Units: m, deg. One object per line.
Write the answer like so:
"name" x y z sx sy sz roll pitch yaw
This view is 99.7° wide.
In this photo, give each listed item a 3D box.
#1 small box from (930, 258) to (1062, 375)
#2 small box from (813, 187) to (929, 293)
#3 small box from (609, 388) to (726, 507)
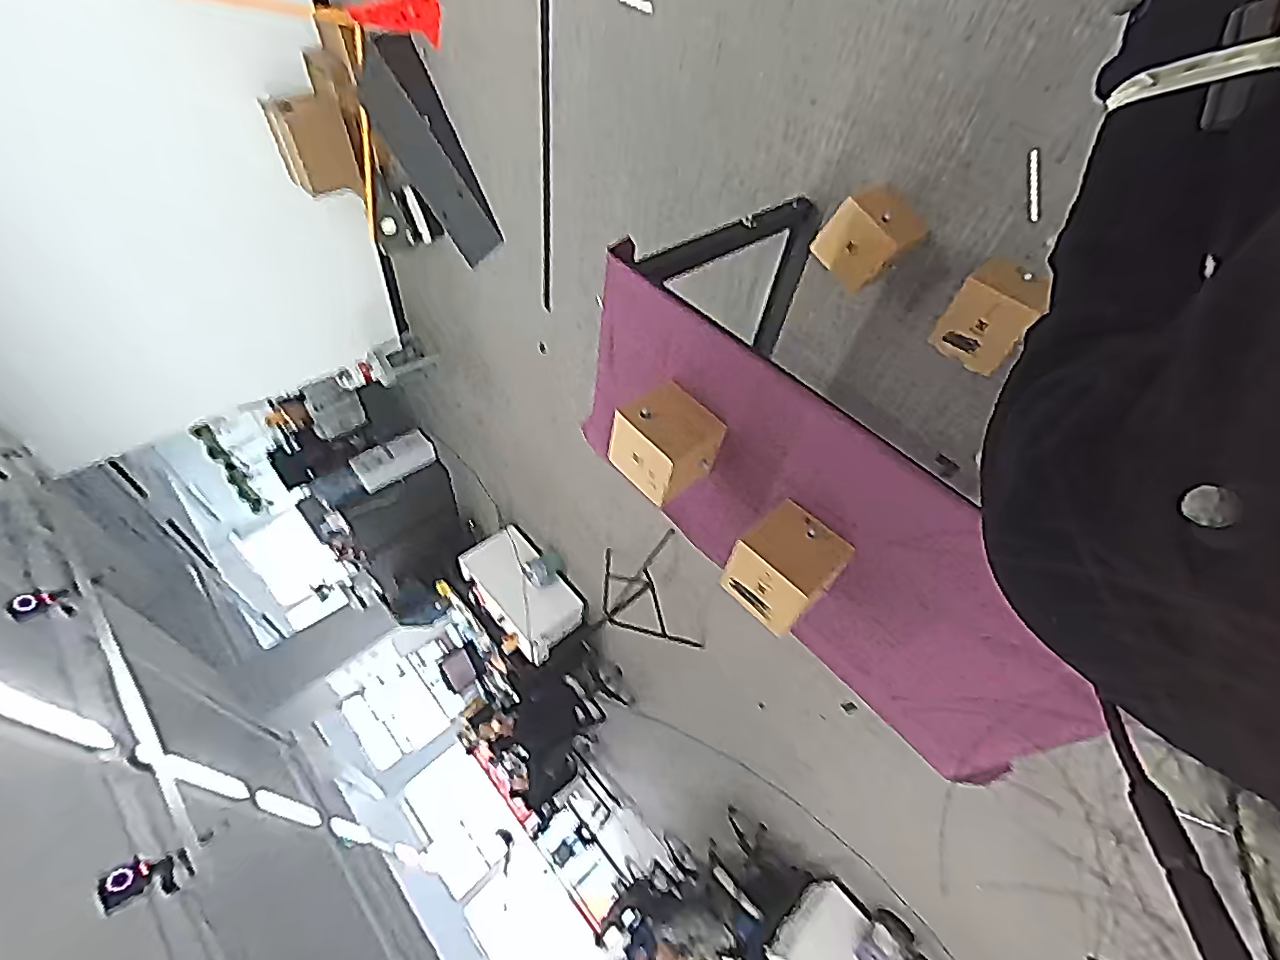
"small box" 0.825 -0.381 1.252 0.168 0.176 0.179 42 146 23
"small box" 0.586 -0.615 1.376 0.179 0.176 0.168 51 149 7
"small box" 0.058 -0.080 1.191 0.179 0.176 0.168 43 149 20
